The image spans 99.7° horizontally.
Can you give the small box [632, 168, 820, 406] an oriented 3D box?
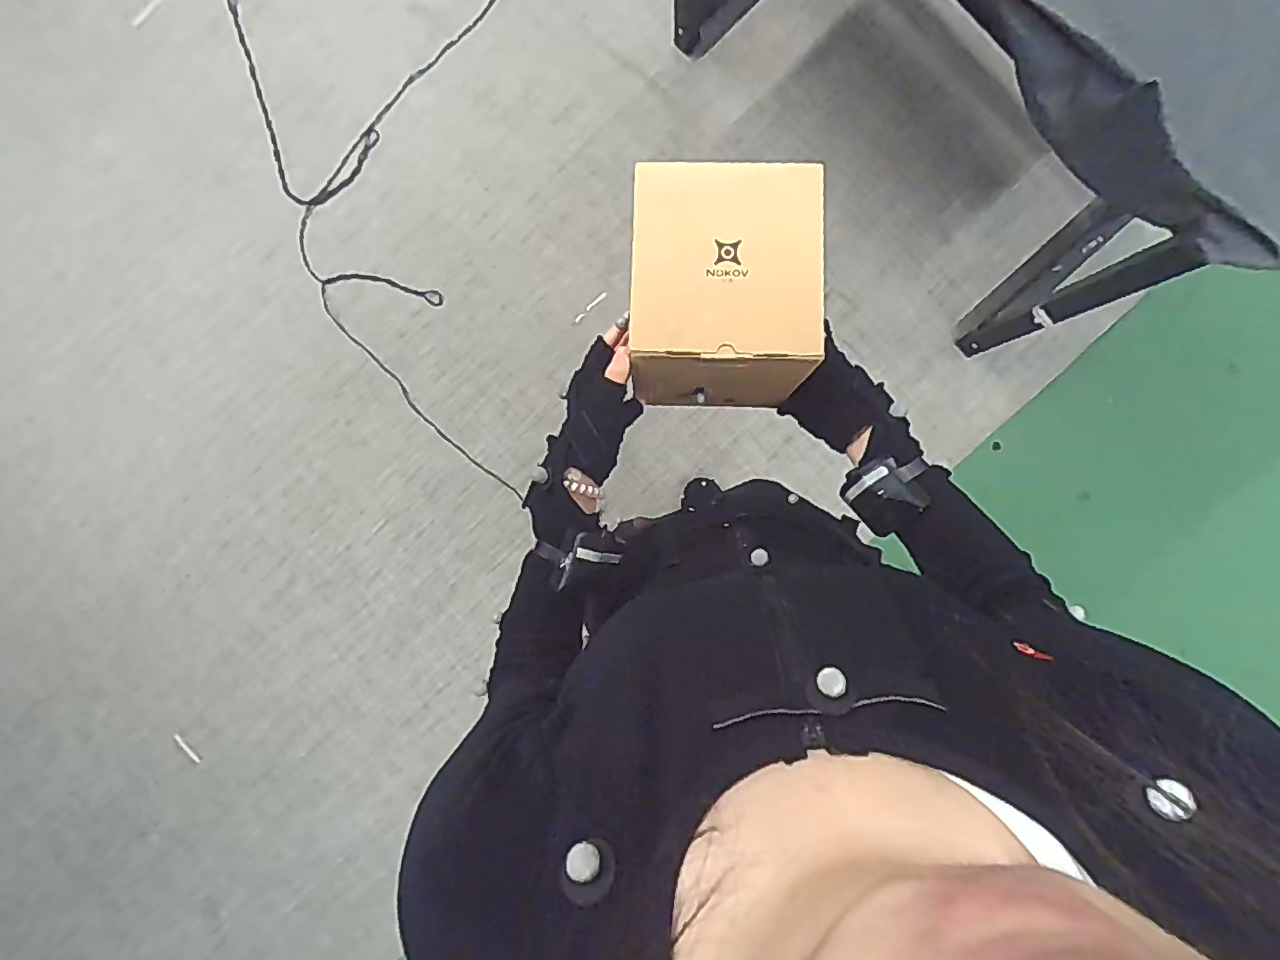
[{"bbox_3d":[0.077,-0.184,0.556,0.168,0.176,0.179,2,85,1],"label":"small box"}]
